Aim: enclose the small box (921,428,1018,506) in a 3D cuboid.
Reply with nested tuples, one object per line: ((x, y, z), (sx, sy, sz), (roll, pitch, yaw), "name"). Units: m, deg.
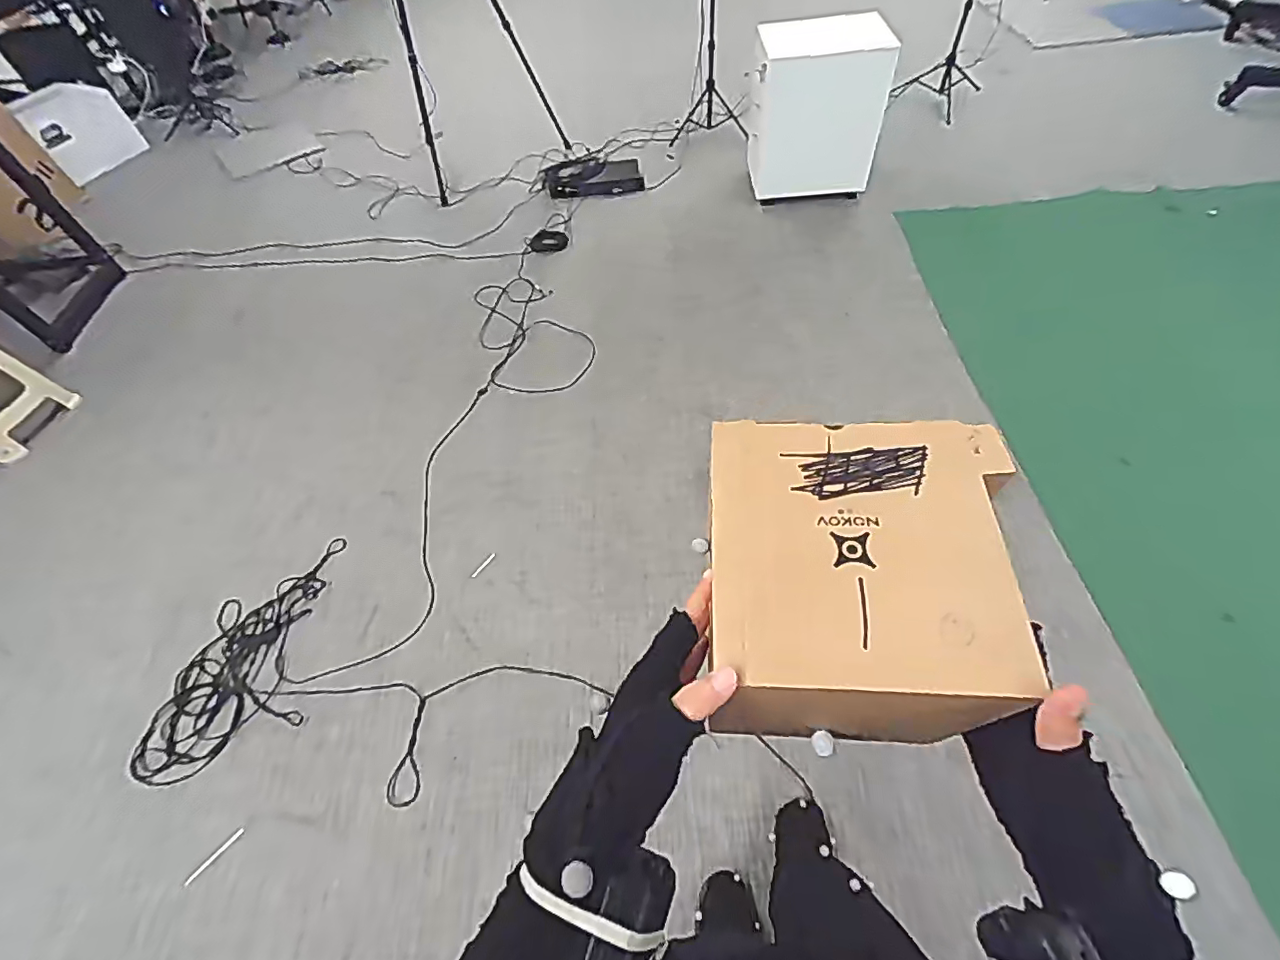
((0.961, -0.031, 1.594), (0.168, 0.176, 0.179), (-3, 55, 2), "small box")
